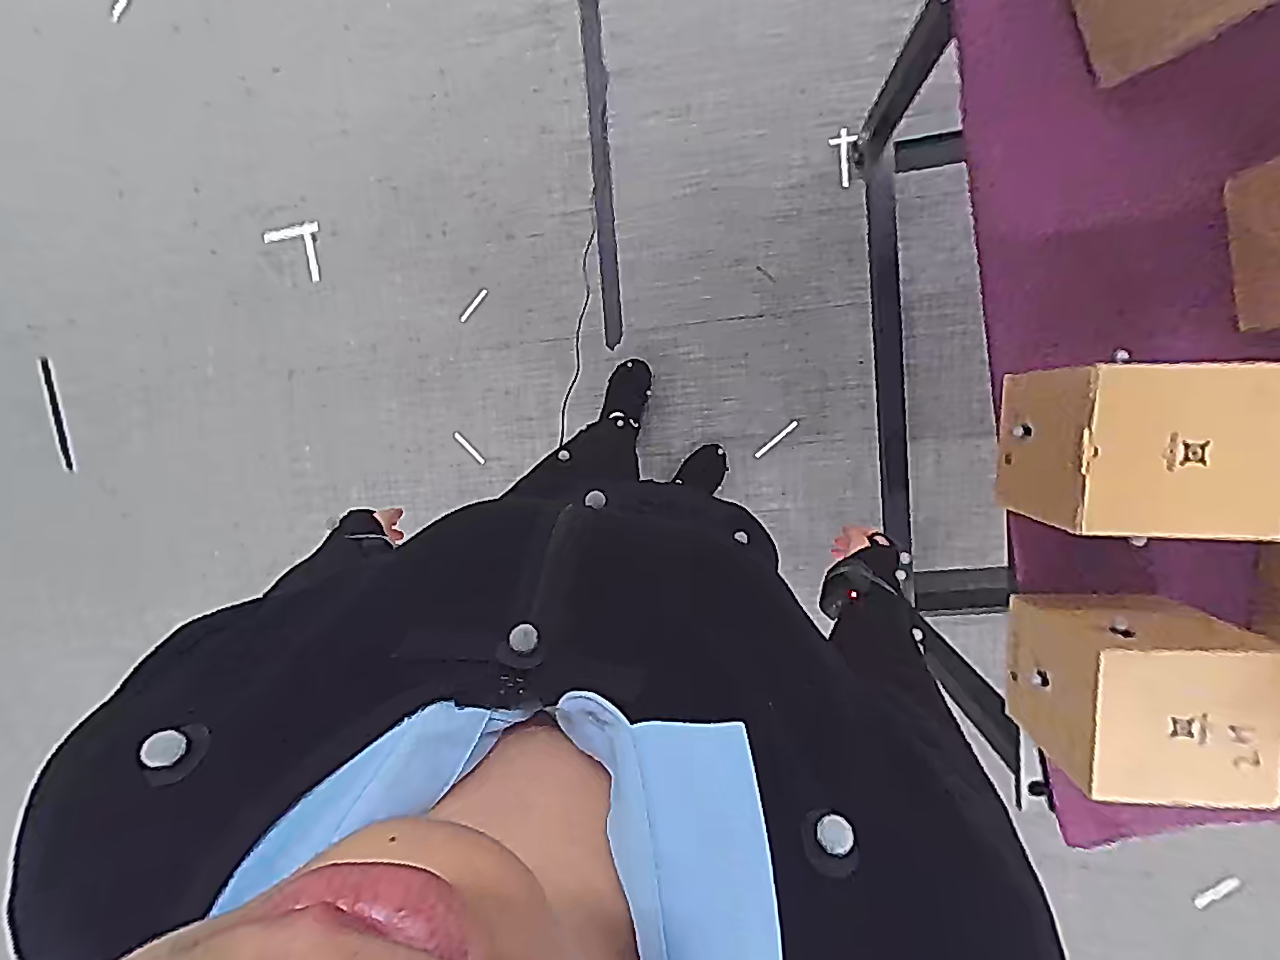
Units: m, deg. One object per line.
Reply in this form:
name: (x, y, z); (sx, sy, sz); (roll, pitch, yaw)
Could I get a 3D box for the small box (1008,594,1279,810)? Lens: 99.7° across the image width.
small box: (0.553, 0.235, 0.613); (0.179, 0.176, 0.168); (-1, 98, 6)

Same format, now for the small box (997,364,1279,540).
small box: (0.526, -0.038, 0.582); (0.179, 0.176, 0.168); (1, 98, 9)
